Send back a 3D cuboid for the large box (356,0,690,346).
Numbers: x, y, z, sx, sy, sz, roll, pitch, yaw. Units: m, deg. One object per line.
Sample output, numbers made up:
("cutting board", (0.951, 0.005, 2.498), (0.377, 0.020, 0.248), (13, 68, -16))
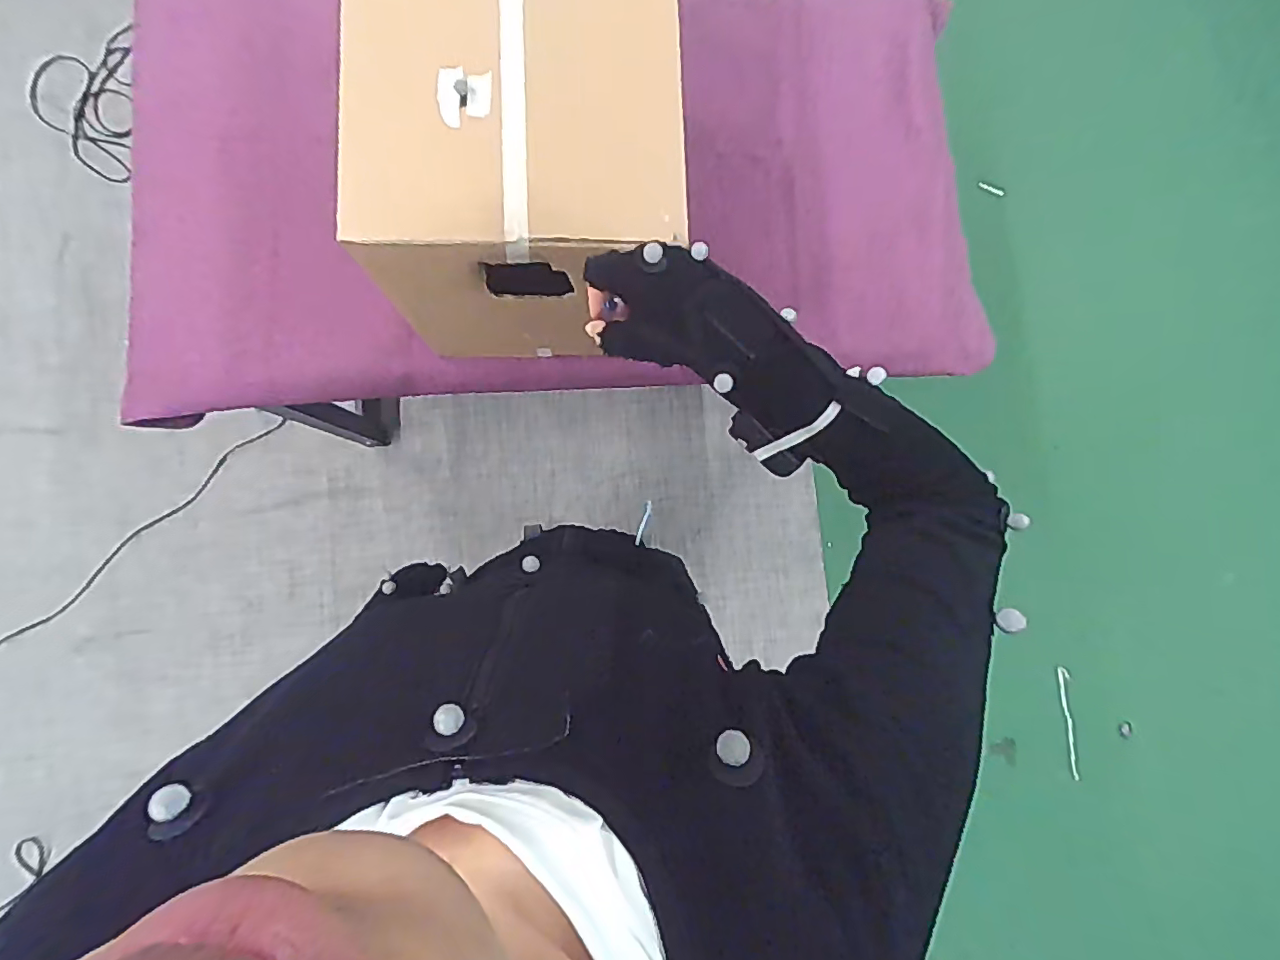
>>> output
("large box", (-0.127, -0.407, 0.664), (0.320, 0.320, 0.408), (-1, 86, -5))
